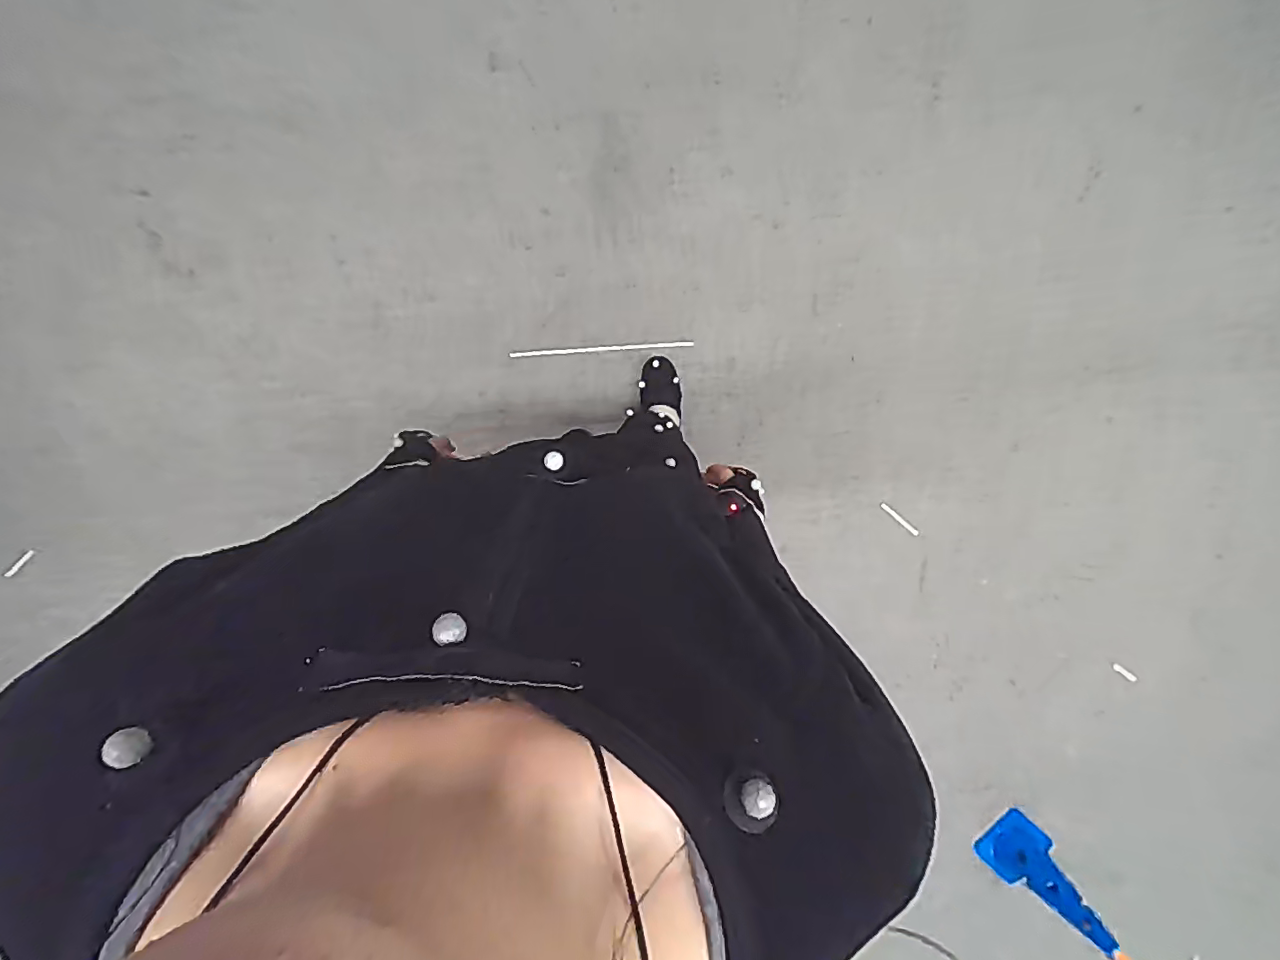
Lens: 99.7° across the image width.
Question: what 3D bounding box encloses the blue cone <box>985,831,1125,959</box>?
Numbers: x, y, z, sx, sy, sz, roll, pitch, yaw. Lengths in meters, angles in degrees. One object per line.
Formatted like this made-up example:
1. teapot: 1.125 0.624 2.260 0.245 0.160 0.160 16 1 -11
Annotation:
1. blue cone: 1.186 1.206 1.507 0.192 0.380 0.193 41 91 -5
